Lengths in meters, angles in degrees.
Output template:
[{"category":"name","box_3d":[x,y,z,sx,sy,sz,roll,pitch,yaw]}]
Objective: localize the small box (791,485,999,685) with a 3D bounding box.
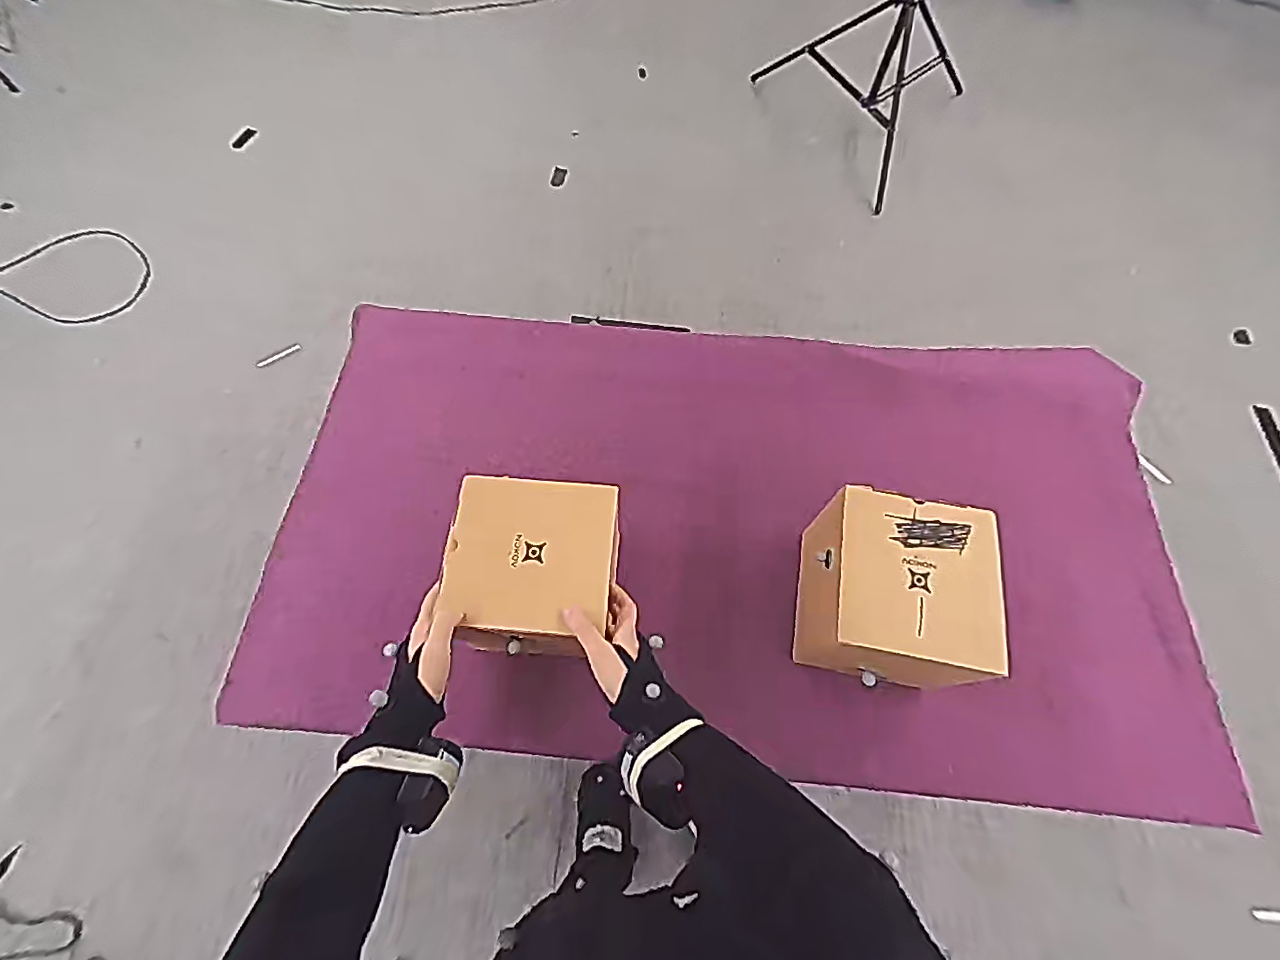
[{"category":"small box","box_3d":[0.284,0.130,0.636,0.168,0.176,0.179,11,66,5]}]

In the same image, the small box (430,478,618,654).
[{"category":"small box","box_3d":[-0.119,0.110,0.642,0.179,0.176,0.168,4,66,1]}]
